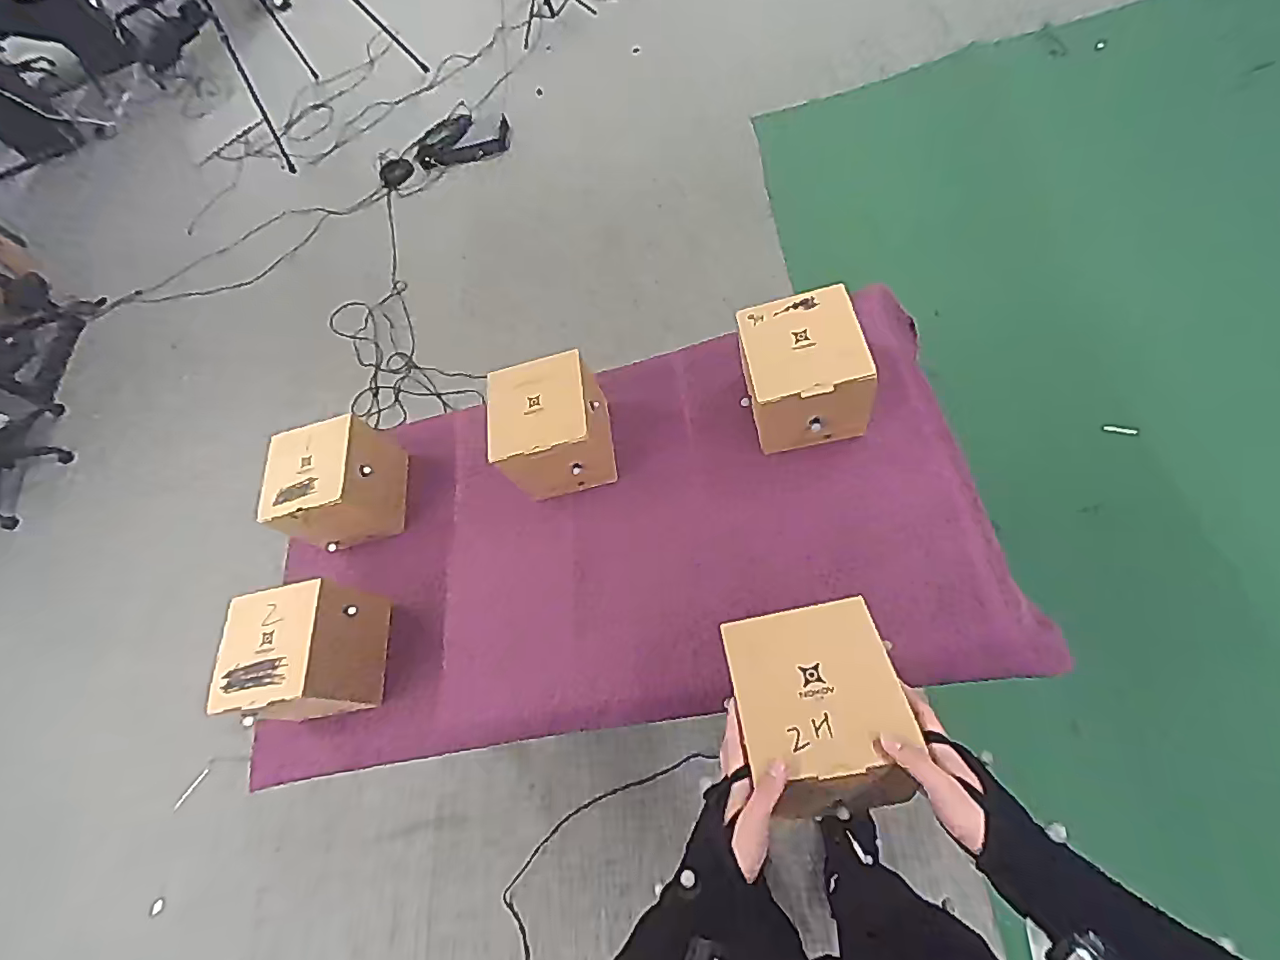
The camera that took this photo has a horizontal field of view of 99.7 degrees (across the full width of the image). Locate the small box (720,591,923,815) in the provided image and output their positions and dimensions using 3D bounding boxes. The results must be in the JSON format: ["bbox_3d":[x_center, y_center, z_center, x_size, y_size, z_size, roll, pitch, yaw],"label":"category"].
[{"bbox_3d":[0.196,0.257,0.619,0.168,0.176,0.179,-14,46,8],"label":"small box"}]

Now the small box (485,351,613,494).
[{"bbox_3d":[-0.152,-0.088,0.936,0.168,0.176,0.179,-13,63,10],"label":"small box"}]

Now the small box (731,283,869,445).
[{"bbox_3d":[0.248,-0.169,0.854,0.168,0.176,0.179,-13,64,11],"label":"small box"}]

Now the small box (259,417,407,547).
[{"bbox_3d":[-0.558,0.014,1.005,0.168,0.176,0.179,-15,63,9],"label":"small box"}]
